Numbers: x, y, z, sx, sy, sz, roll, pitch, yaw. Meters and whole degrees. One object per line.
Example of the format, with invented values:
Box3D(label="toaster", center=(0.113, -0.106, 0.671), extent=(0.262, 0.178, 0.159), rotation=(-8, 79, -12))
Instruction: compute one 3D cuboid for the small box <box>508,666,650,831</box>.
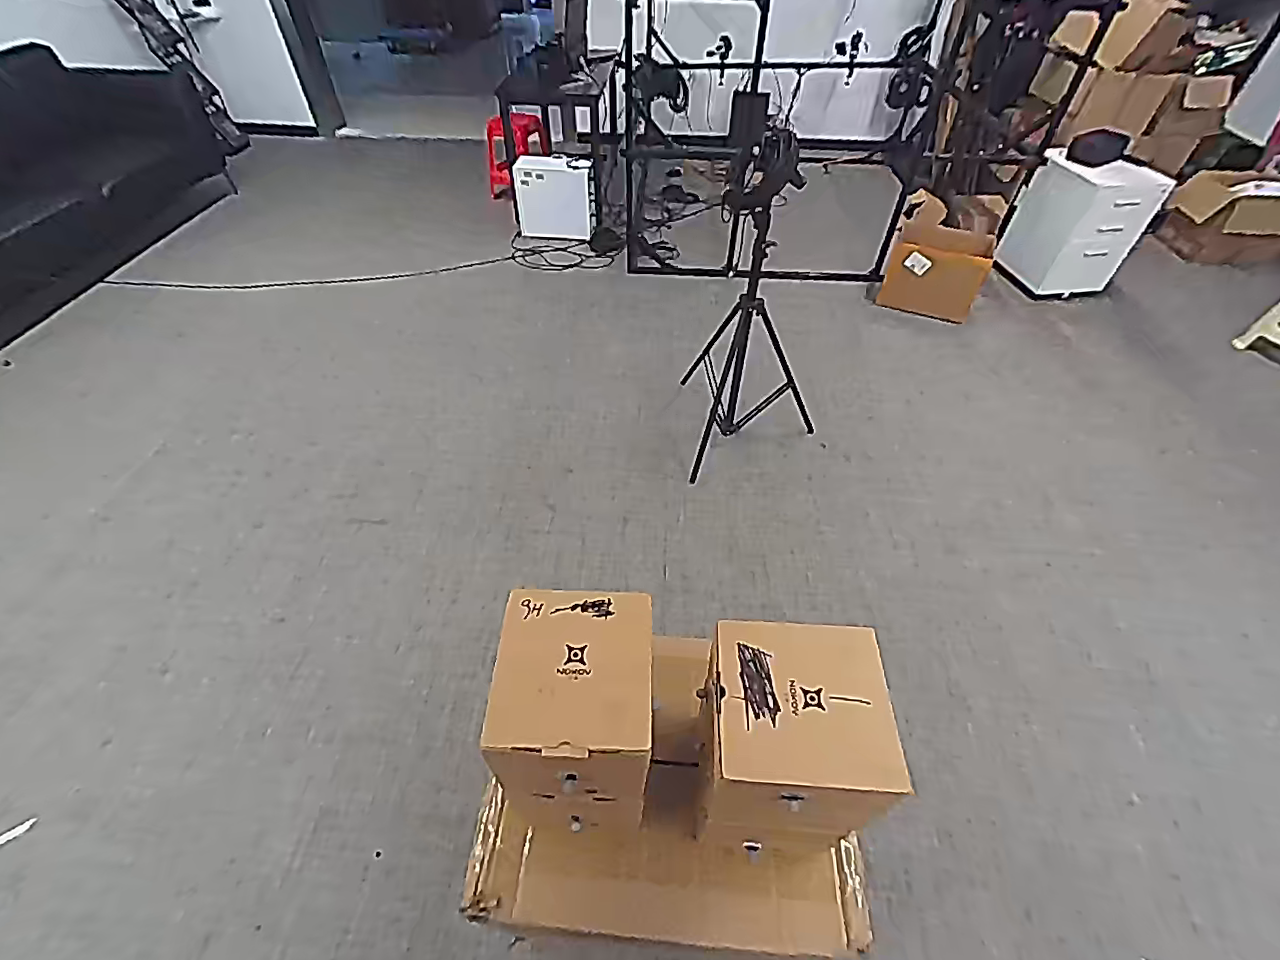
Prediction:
Box3D(label="small box", center=(-0.075, 0.364, 0.751), extent=(0.168, 0.176, 0.179), rotation=(3, 47, 1))

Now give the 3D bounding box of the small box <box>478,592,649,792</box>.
Box3D(label="small box", center=(-0.073, 0.250, 0.632), extent=(0.168, 0.176, 0.179), rotation=(1, 48, 0))

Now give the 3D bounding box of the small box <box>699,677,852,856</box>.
Box3D(label="small box", center=(0.168, 0.388, 0.734), extent=(0.168, 0.176, 0.179), rotation=(1, 49, 4))
